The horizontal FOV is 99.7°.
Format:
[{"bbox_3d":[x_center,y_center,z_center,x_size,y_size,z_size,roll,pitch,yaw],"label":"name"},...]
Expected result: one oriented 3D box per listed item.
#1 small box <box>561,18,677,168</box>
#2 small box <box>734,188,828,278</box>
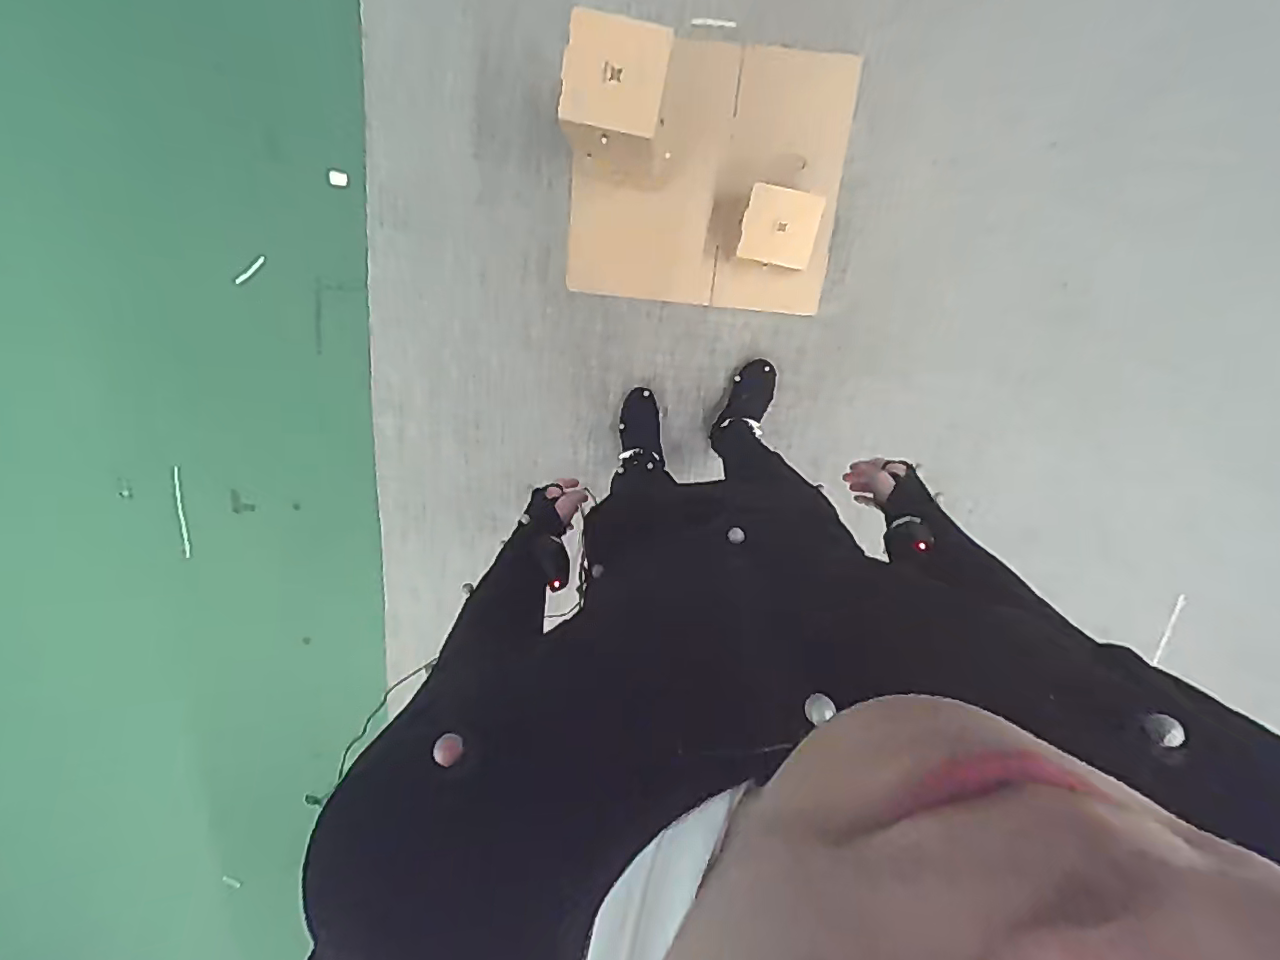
[{"bbox_3d":[-0.034,-0.707,1.008,0.179,0.176,0.168,13,107,0],"label":"small box"},{"bbox_3d":[0.344,-0.609,1.354,0.179,0.176,0.168,12,106,1],"label":"small box"}]
